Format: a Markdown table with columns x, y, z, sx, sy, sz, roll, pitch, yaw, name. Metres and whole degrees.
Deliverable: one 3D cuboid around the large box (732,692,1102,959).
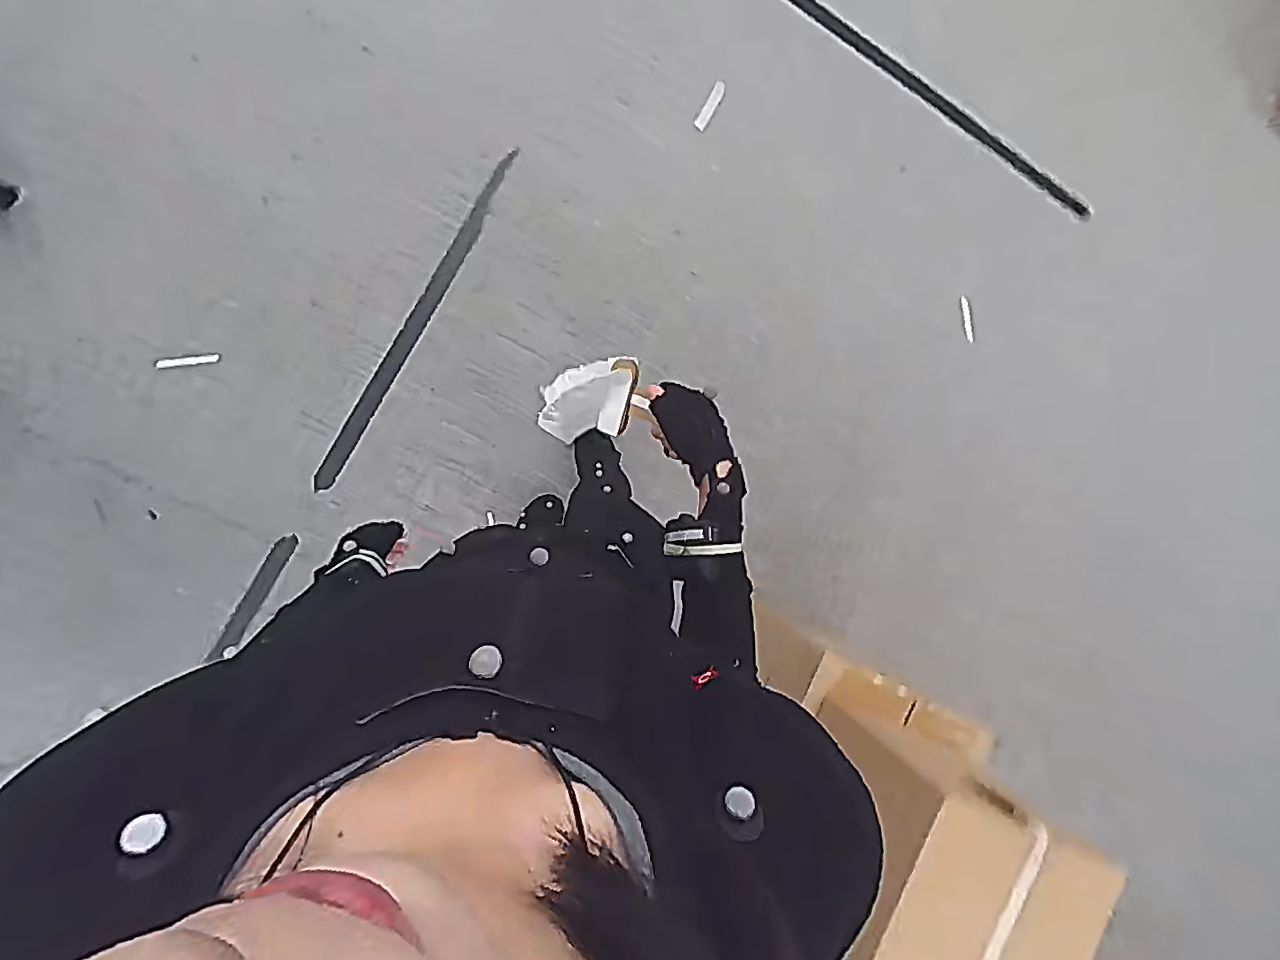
| x | y | z | sx | sy | sz | roll | pitch | yaw | name |
| --- | --- | --- | --- | --- | --- | --- | --- | --- | --- |
| 0.404 | 0.630 | 0.867 | 0.320 | 0.320 | 0.408 | 27 | 88 | -9 | large box |
